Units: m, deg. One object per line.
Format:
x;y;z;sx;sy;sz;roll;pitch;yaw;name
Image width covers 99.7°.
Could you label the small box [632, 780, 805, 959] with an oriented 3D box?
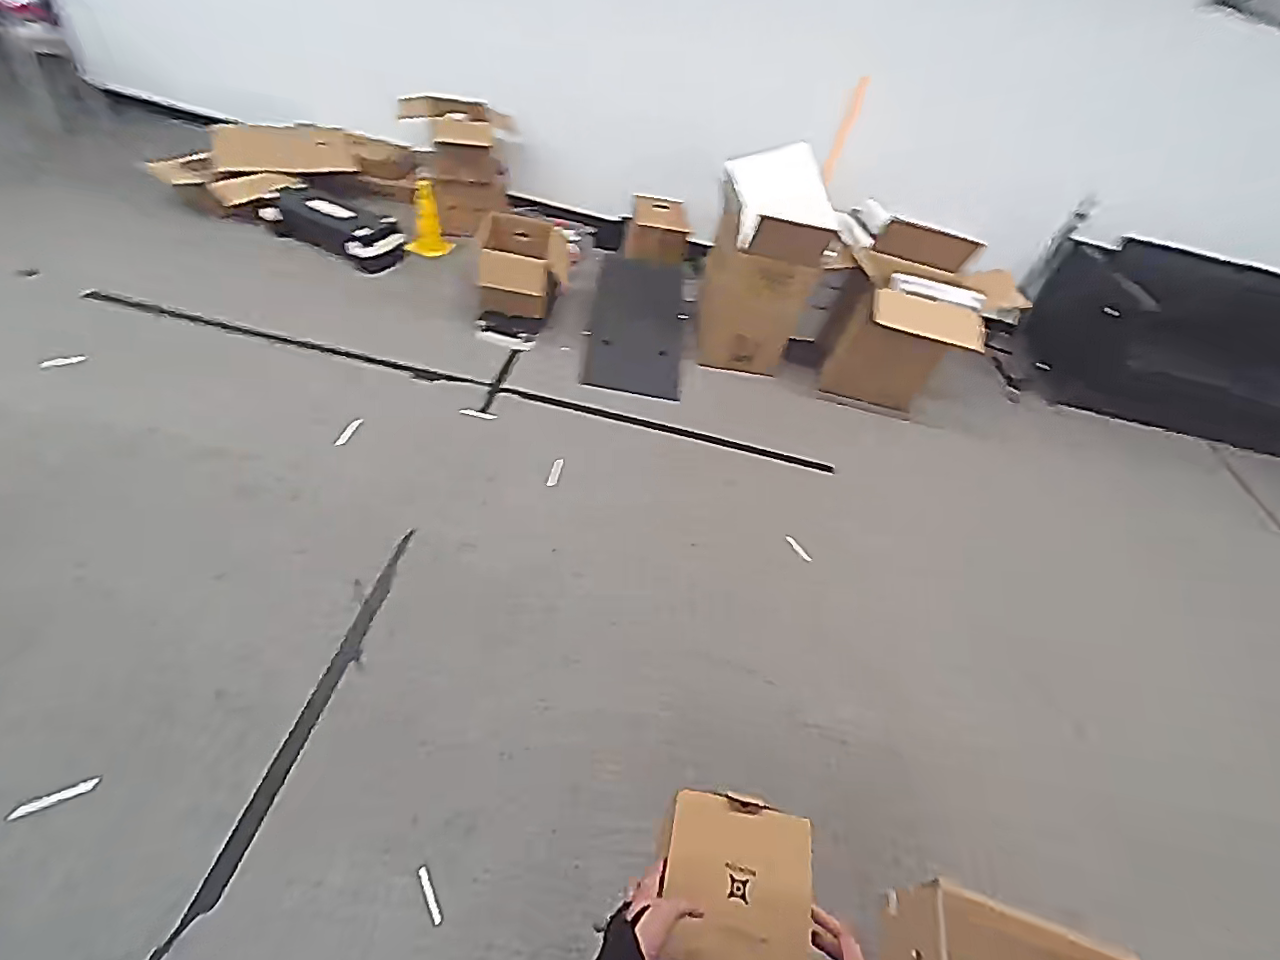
0.090;0.500;0.648;0.168;0.176;0.179;12;42;5;small box
